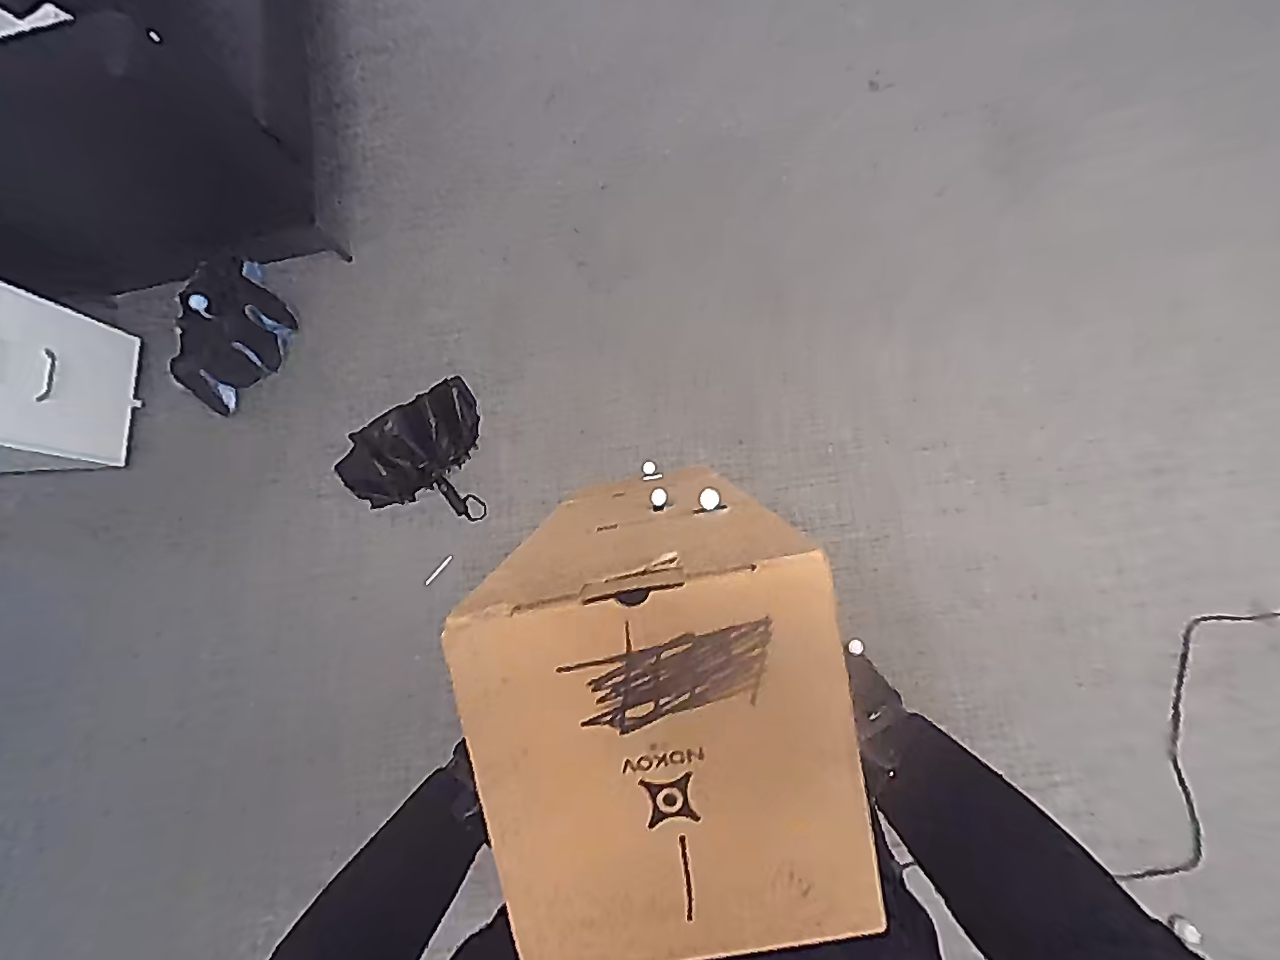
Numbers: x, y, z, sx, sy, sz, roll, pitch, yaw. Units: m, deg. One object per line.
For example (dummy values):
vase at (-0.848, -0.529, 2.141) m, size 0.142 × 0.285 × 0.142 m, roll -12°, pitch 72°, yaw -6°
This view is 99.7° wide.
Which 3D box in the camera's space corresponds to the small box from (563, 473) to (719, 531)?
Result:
small box at (0.016, 0.093, 0.651) m, size 0.168 × 0.176 × 0.179 m, roll -11°, pitch 92°, yaw 2°

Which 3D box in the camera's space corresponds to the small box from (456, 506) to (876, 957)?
small box at (0.014, 0.116, 0.322) m, size 0.168 × 0.176 × 0.179 m, roll -11°, pitch 95°, yaw 2°
